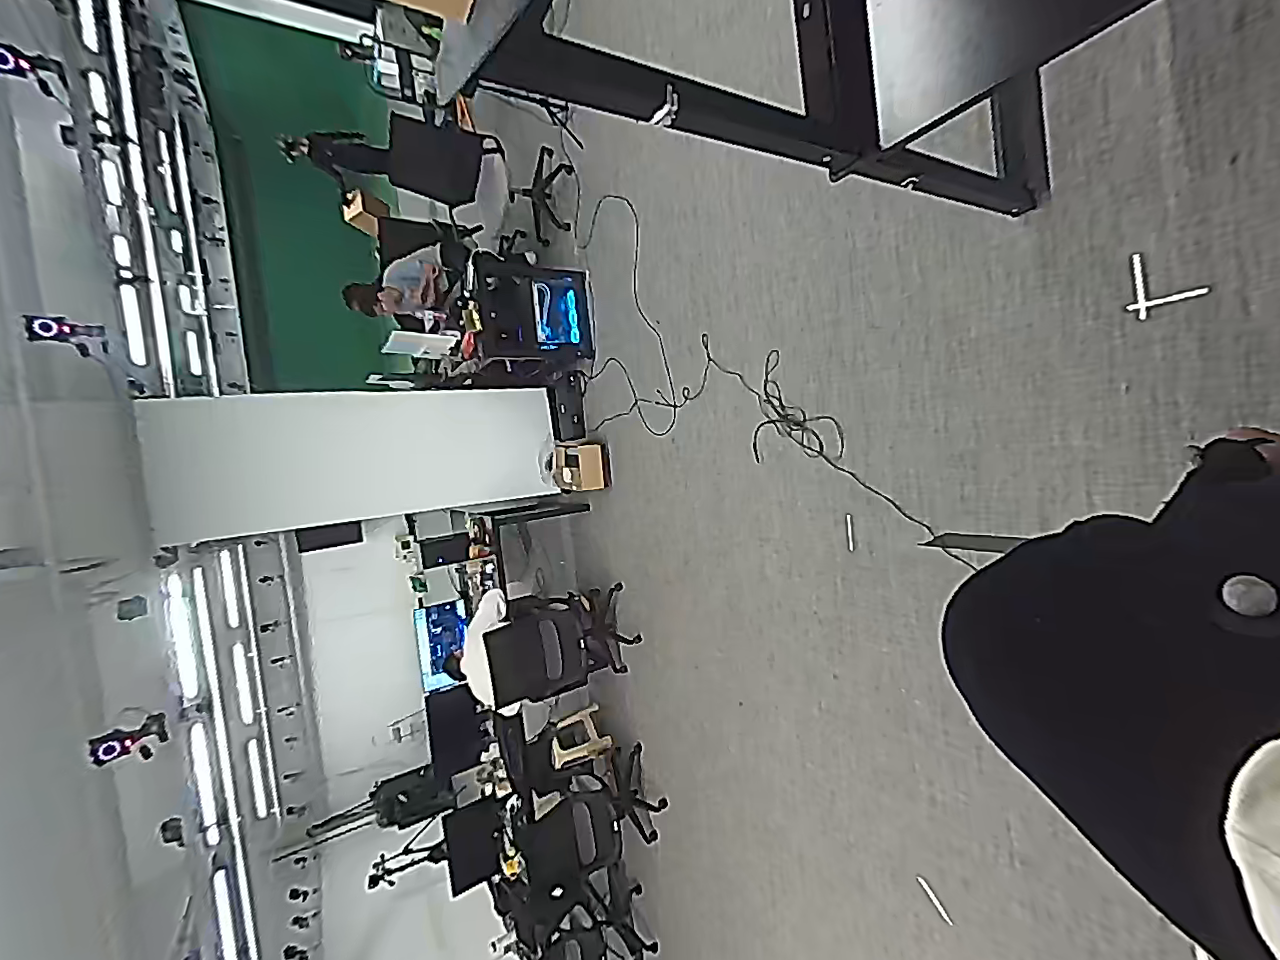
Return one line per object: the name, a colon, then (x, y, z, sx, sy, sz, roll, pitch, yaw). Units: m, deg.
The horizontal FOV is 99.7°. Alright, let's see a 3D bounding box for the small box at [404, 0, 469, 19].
small box: (-0.253, -0.632, 0.548, 0.168, 0.176, 0.179, -7, 90, 59)
